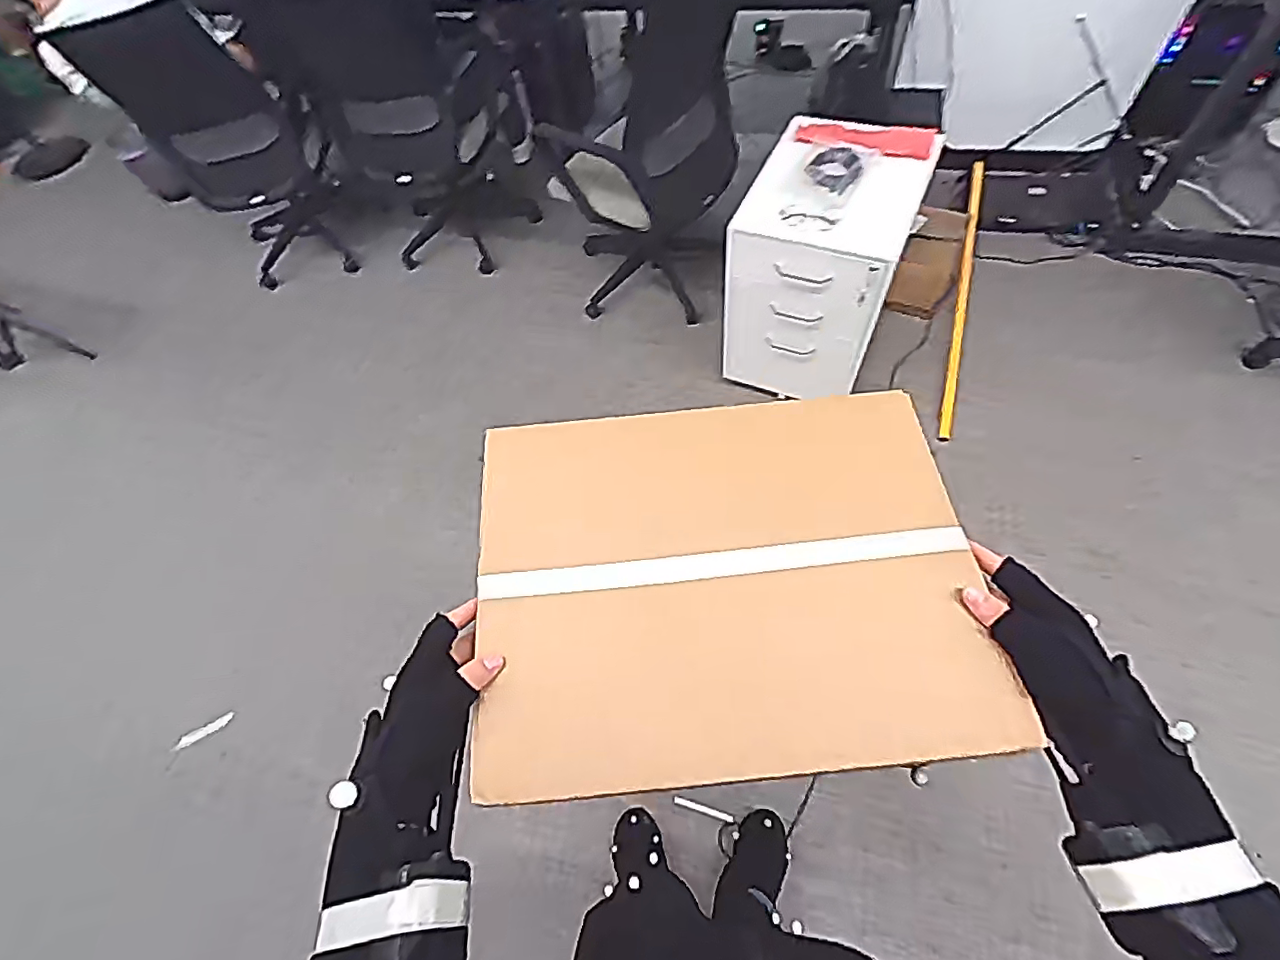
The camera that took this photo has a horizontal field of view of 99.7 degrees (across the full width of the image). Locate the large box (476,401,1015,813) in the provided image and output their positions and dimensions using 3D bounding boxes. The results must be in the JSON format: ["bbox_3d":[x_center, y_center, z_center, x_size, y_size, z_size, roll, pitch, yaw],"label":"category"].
[{"bbox_3d":[0.069,0.146,0.588,0.408,0.320,0.320,-6,62,-1],"label":"large box"}]
